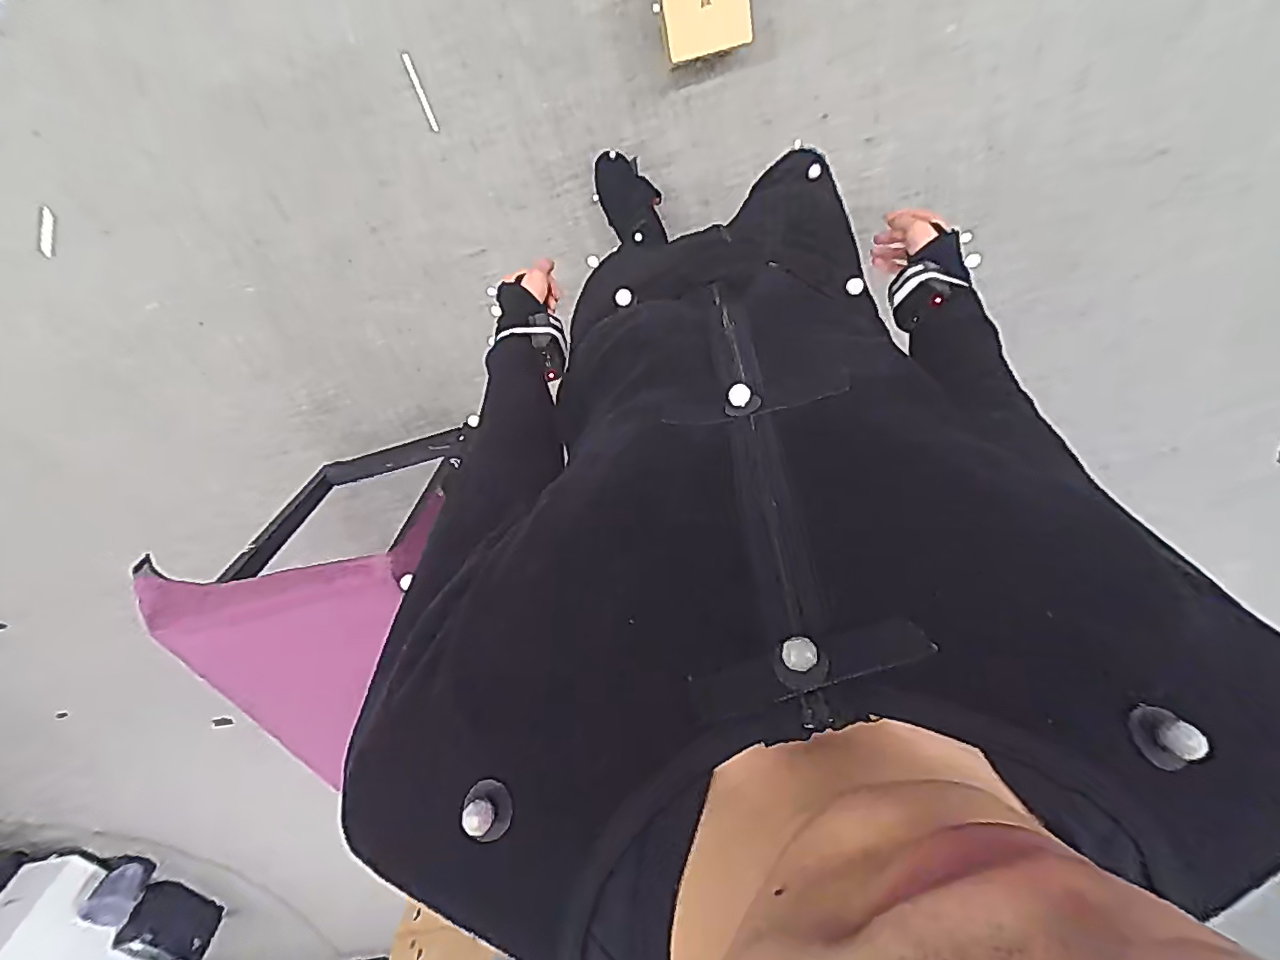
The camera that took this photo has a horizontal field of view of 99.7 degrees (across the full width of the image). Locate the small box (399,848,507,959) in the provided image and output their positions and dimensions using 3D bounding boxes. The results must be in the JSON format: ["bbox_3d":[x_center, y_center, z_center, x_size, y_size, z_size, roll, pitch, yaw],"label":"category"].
[{"bbox_3d":[-0.462,1.067,1.365,0.179,0.176,0.168,-25,121,15],"label":"small box"}]

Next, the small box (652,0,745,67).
[{"bbox_3d":[0.113,-0.969,1.104,0.168,0.176,0.179,-11,123,7],"label":"small box"}]

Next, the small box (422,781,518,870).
[{"bbox_3d":[-0.461,0.969,1.498,0.168,0.176,0.179,-24,120,14],"label":"small box"}]
